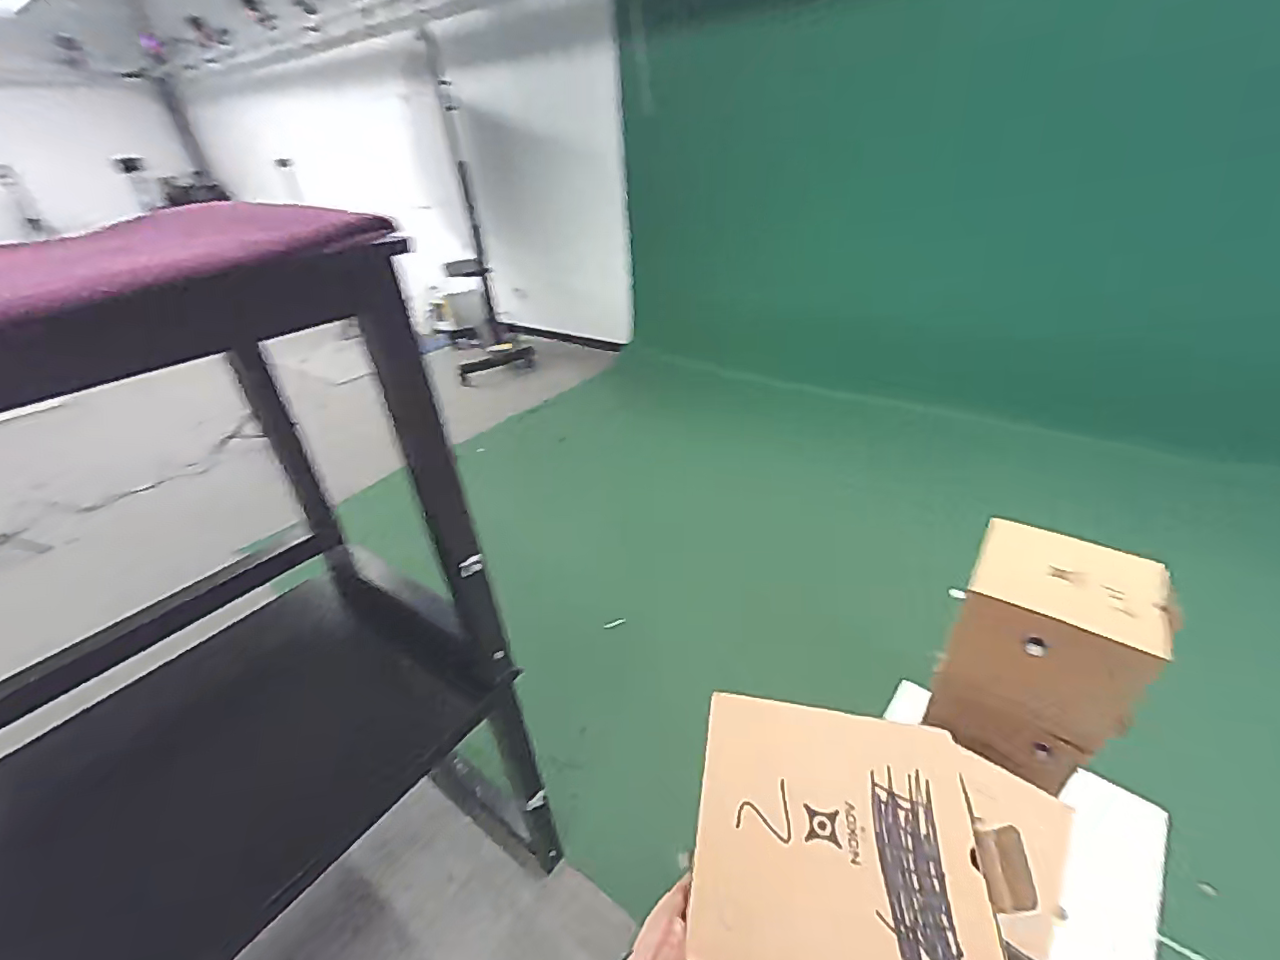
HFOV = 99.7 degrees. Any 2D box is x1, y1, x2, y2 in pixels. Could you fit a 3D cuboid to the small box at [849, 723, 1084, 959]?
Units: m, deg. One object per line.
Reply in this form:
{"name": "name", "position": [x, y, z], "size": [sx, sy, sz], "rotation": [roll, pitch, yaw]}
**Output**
{"name": "small box", "position": [0.346, 0.422, 0.594], "size": [0.168, 0.176, 0.179], "rotation": [23, 40, 35]}

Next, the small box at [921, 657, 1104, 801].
{"name": "small box", "position": [0.515, 0.315, 0.746], "size": [0.179, 0.176, 0.168], "rotation": [27, 43, 38]}

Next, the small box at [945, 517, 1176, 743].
{"name": "small box", "position": [0.498, 0.178, 0.657], "size": [0.179, 0.176, 0.168], "rotation": [21, 41, 32]}
